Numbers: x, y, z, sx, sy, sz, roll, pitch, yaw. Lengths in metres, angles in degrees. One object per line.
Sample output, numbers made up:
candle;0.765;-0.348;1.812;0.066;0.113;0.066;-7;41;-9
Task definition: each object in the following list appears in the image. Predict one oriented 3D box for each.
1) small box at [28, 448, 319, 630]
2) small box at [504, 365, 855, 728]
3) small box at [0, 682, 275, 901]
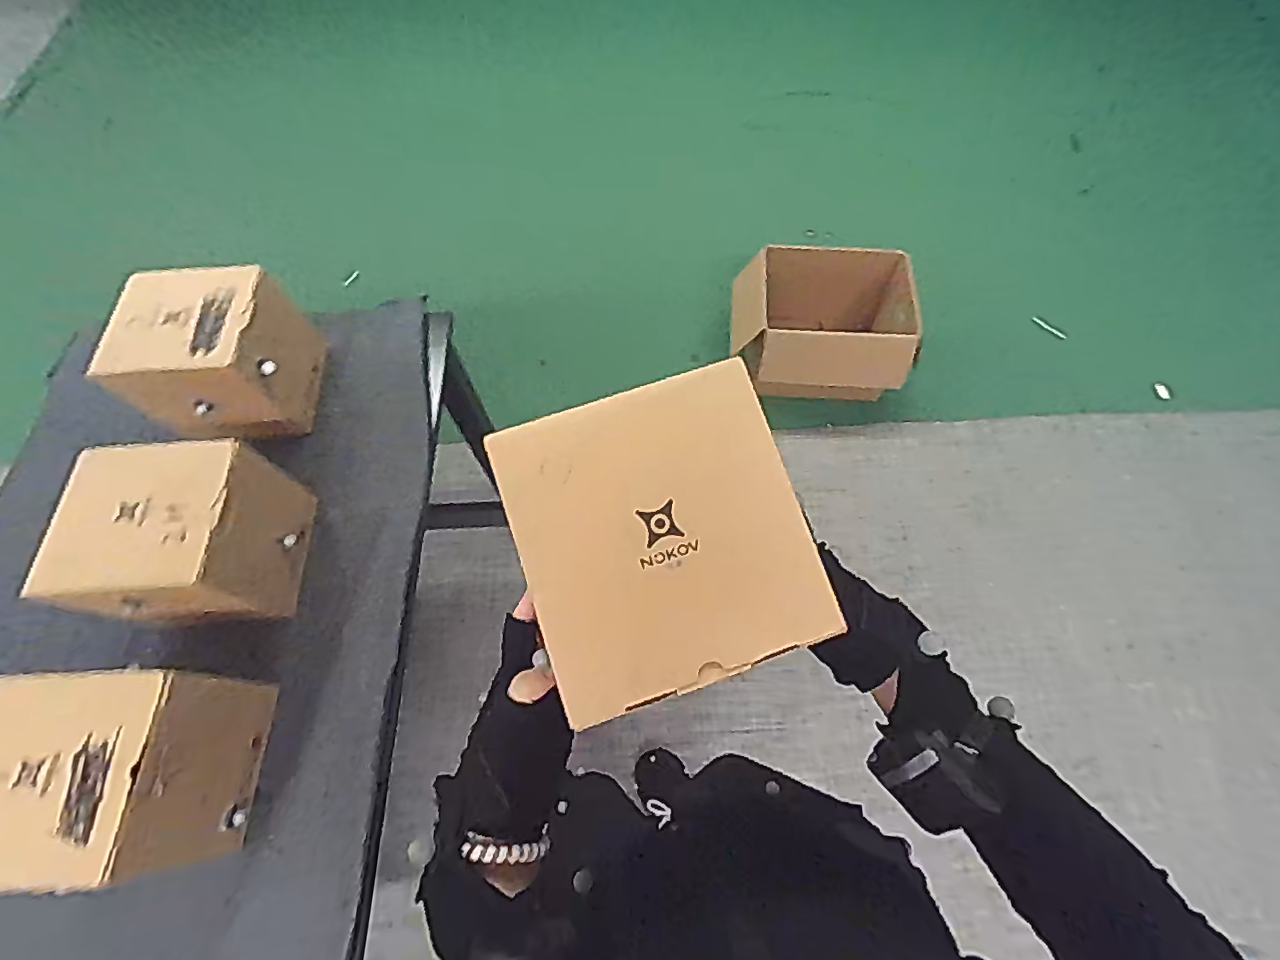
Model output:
small box;-0.525;0.078;0.642;0.179;0.176;0.168;-4;66;-1
small box;0.016;0.046;0.392;0.168;0.176;0.179;-18;82;-6
small box;-0.510;0.297;0.536;0.179;0.176;0.168;-3;63;0
